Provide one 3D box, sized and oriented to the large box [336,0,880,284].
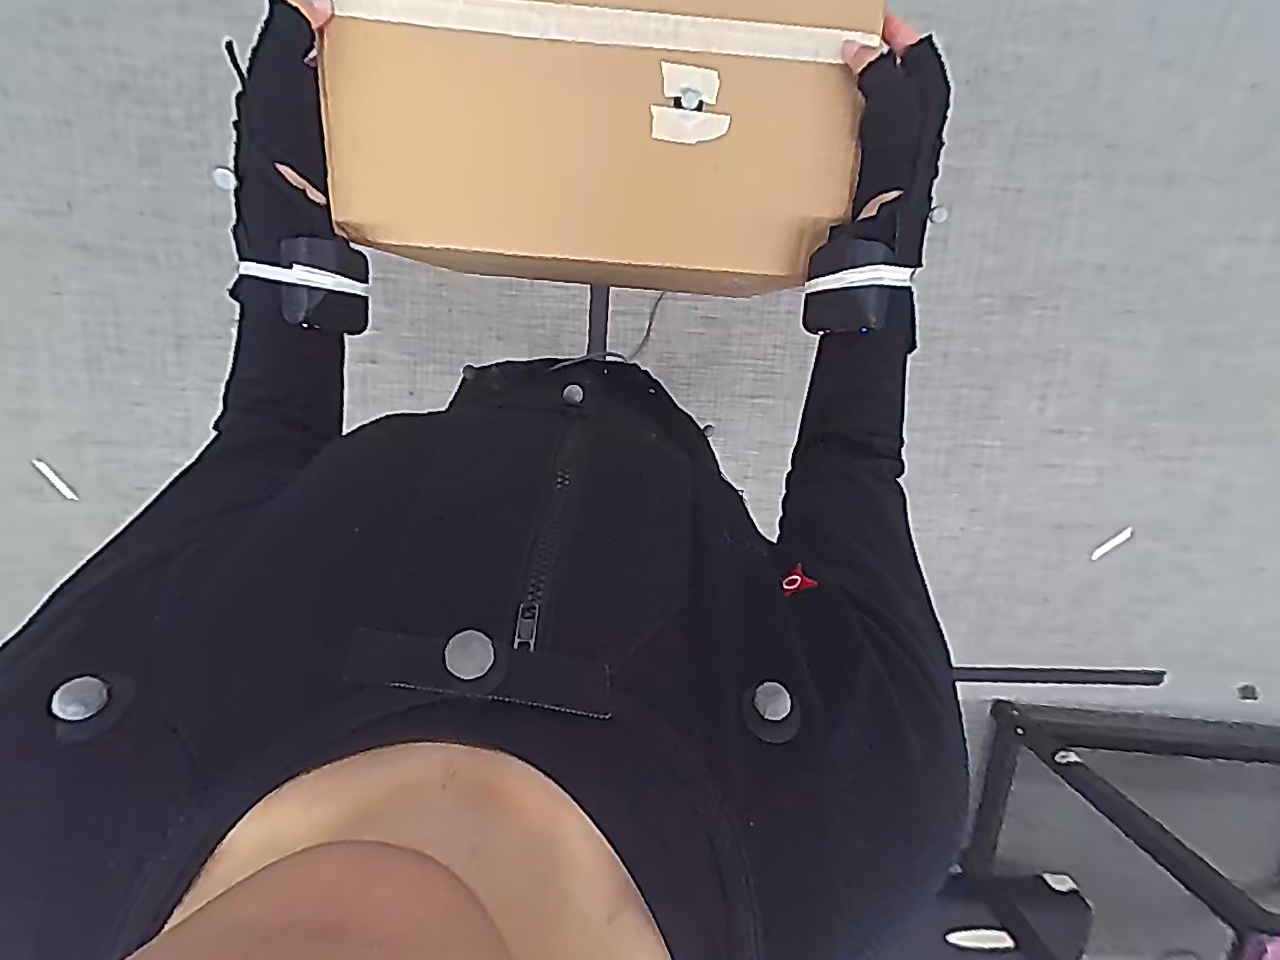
[{"bbox_3d":[-0.030,-0.378,0.541,0.408,0.320,0.320,3,107,-4],"label":"large box"}]
